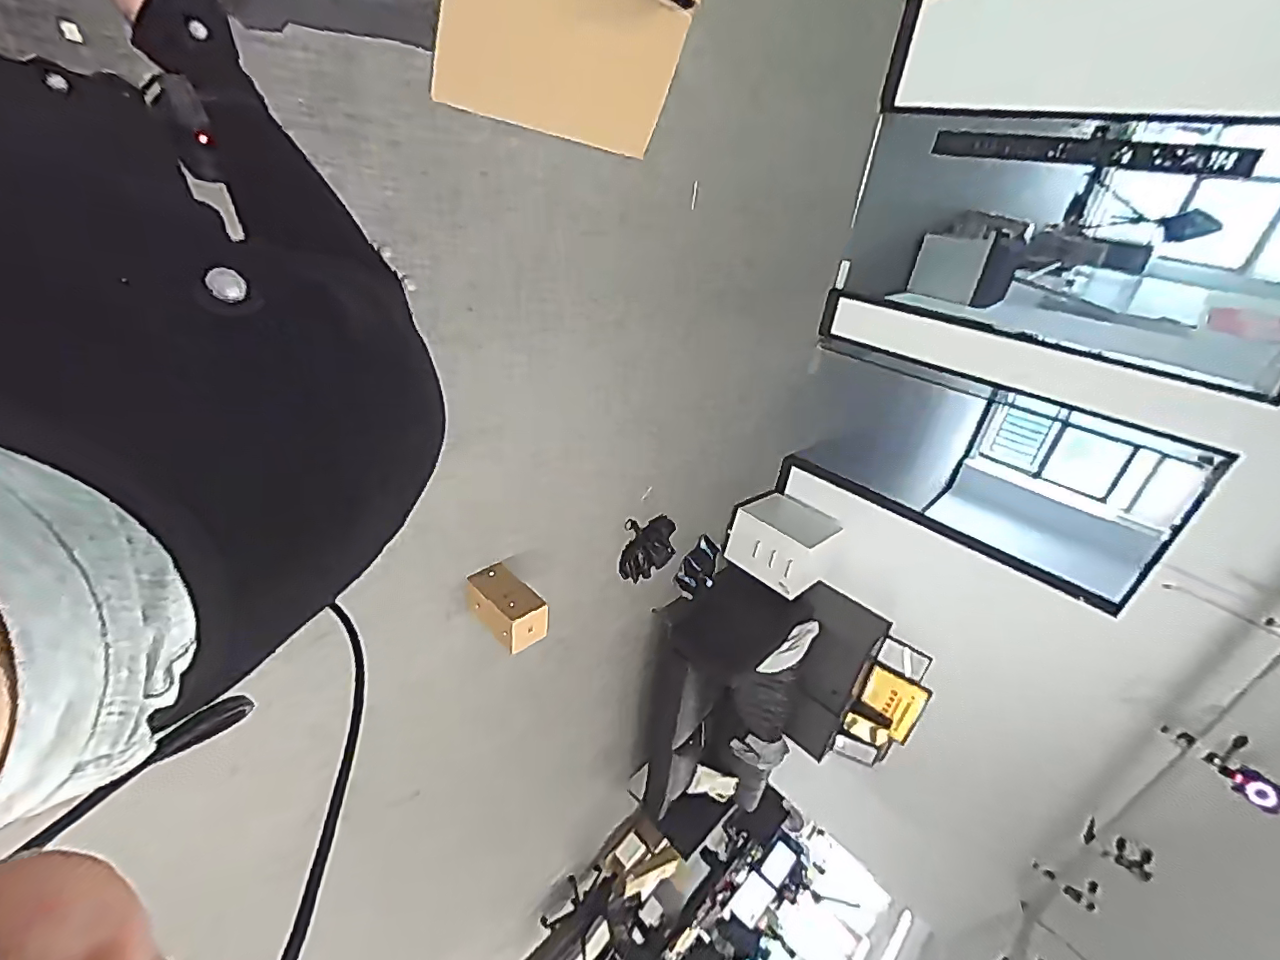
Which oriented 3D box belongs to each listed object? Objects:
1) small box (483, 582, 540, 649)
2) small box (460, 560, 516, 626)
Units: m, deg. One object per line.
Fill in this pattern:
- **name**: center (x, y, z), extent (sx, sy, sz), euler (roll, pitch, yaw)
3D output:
- **small box**: center (-0.518, 0.533, 2.169), extent (0.168, 0.176, 0.179), euler (-22, 134, -41)
- **small box**: center (-0.635, 0.467, 2.260), extent (0.168, 0.176, 0.179), euler (-25, 133, -41)
